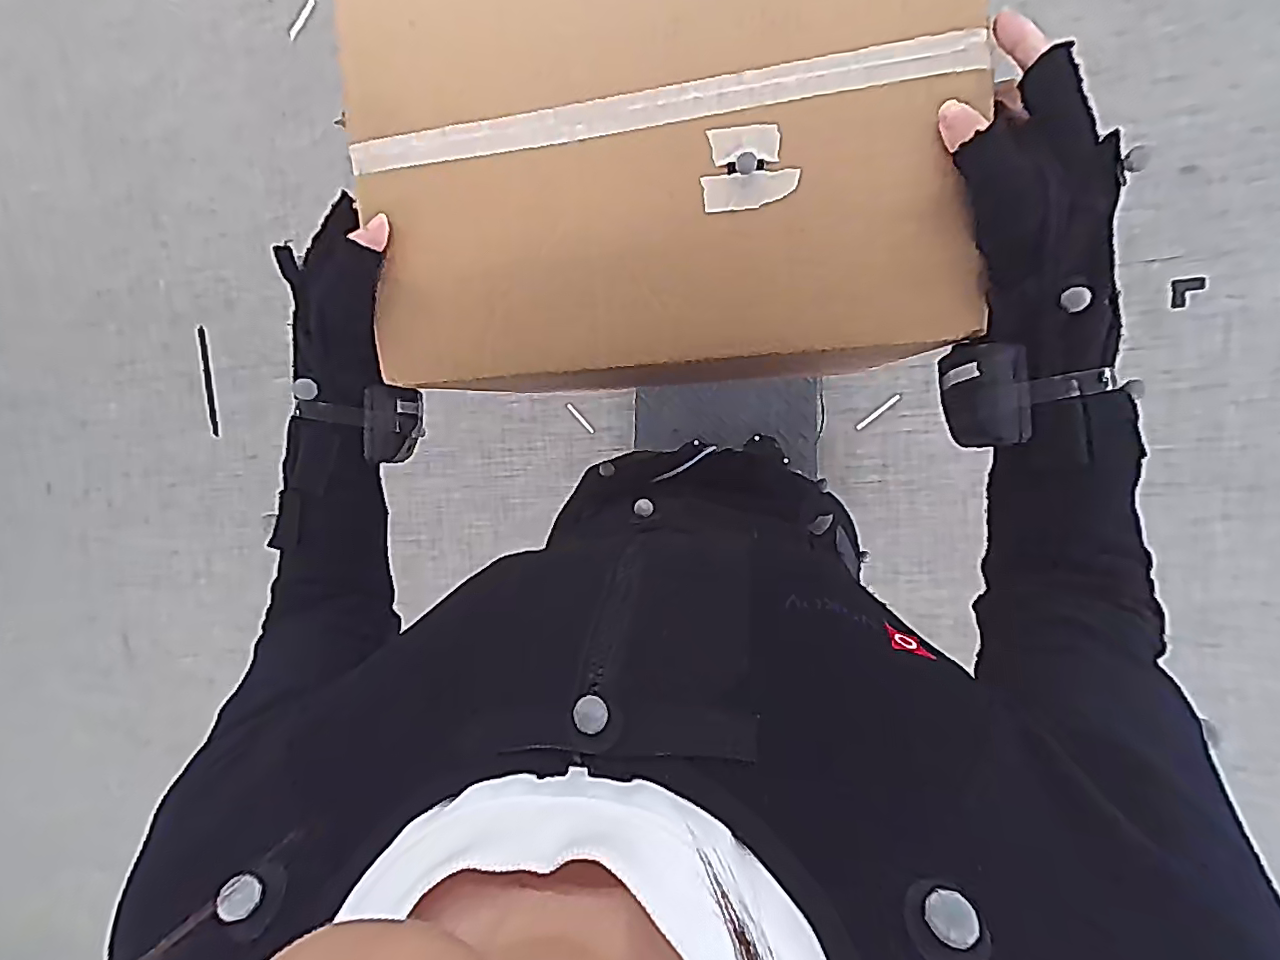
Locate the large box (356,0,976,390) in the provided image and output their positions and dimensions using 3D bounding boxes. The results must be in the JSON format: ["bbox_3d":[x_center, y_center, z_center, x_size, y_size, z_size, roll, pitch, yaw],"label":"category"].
[{"bbox_3d":[0.027,-0.260,0.501,0.408,0.320,0.320,-3,98,10],"label":"large box"}]
